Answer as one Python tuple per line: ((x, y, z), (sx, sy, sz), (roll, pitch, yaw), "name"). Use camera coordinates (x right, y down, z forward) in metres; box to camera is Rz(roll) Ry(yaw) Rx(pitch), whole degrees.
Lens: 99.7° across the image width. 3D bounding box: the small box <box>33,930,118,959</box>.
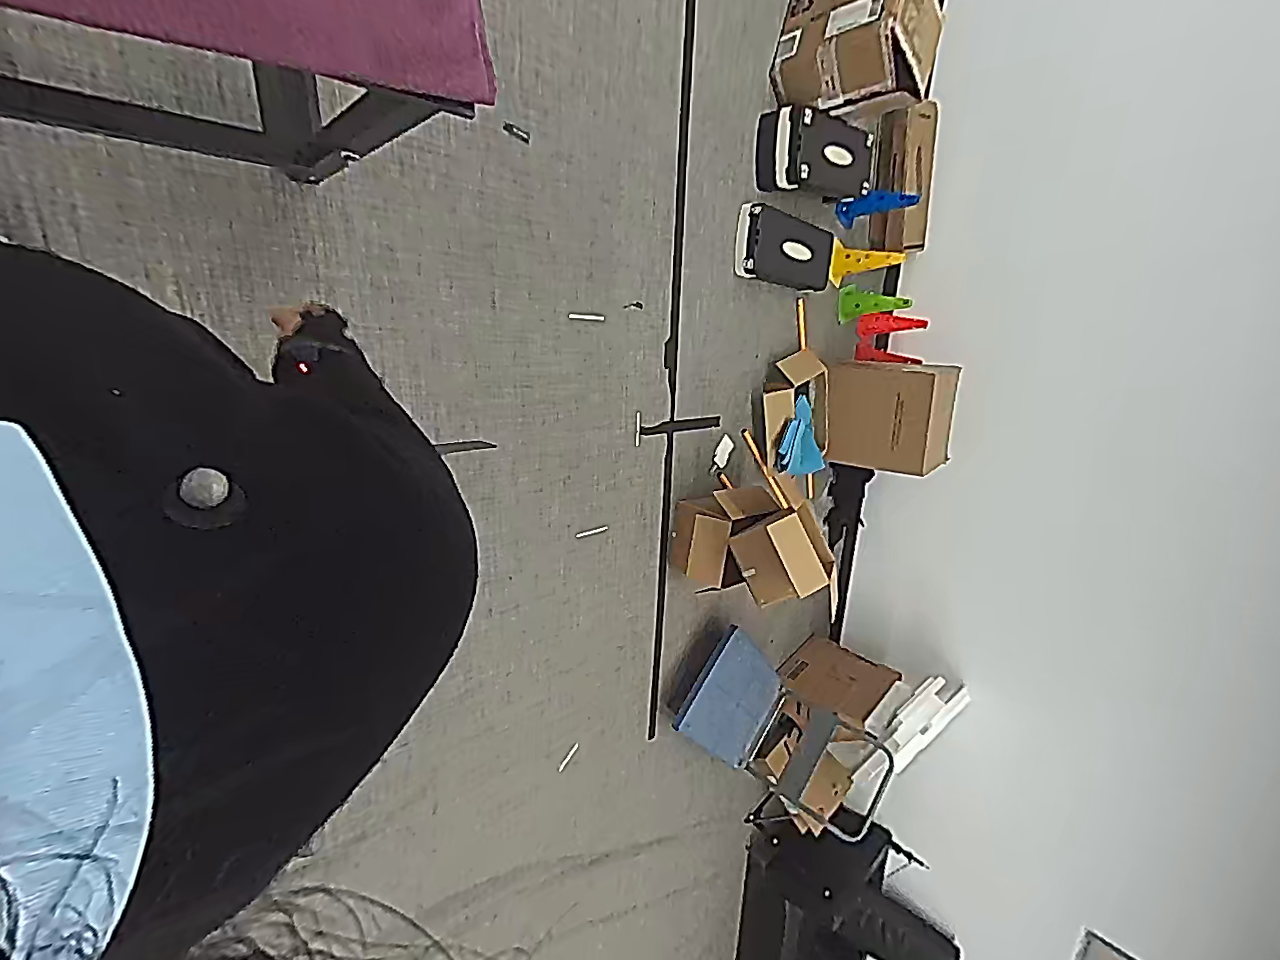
((-1.231, 1.120, 1.150), (0.168, 0.176, 0.179), (-15, 114, -41), "small box")
